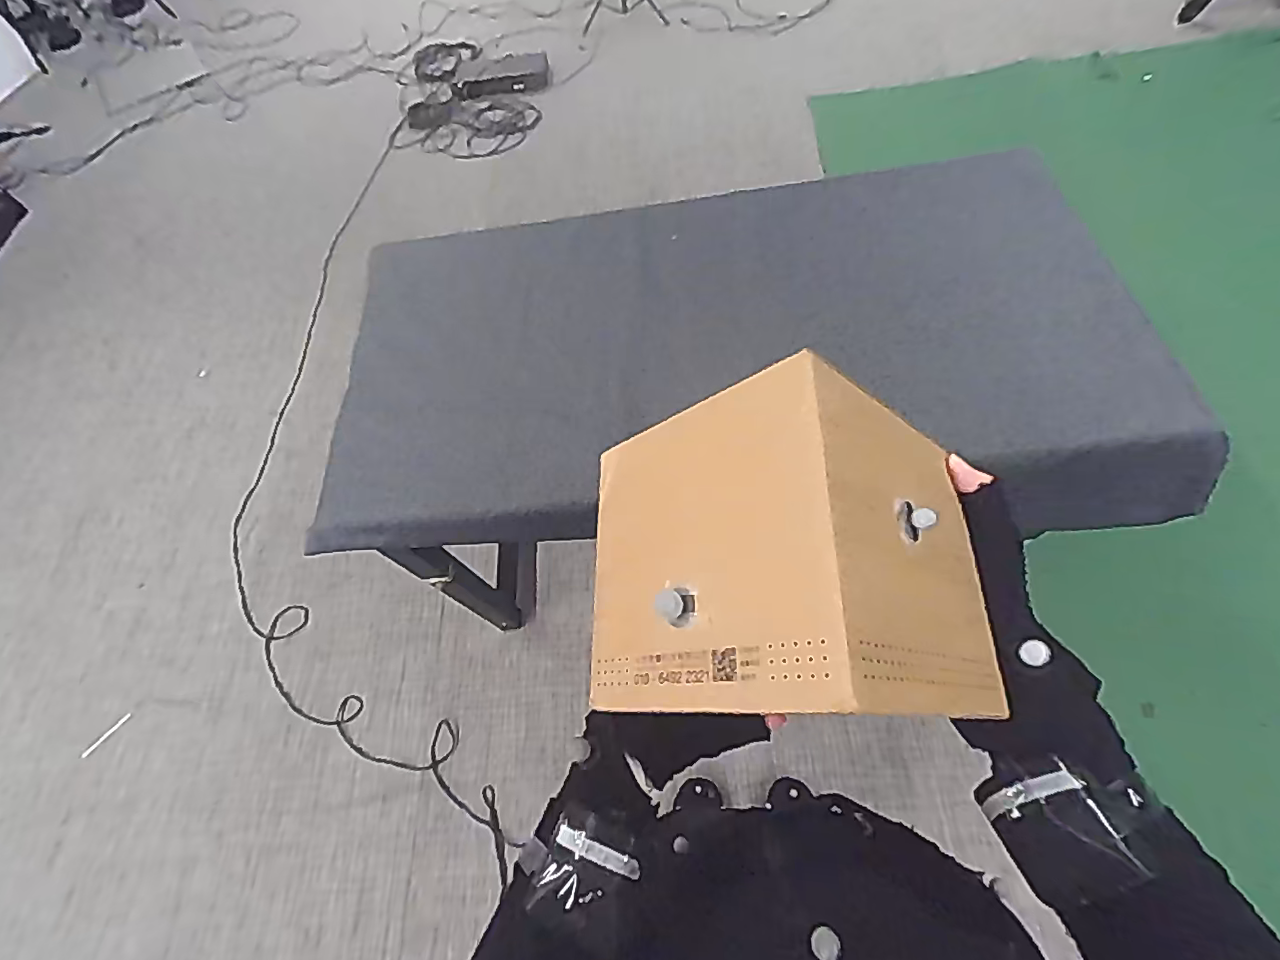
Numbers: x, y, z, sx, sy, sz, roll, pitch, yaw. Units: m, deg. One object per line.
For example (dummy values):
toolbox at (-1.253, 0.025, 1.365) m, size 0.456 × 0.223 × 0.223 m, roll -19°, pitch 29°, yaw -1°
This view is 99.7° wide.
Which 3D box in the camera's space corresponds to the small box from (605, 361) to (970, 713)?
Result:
small box at (0.089, 0.058, 0.356) m, size 0.168 × 0.179 × 0.176 m, roll -25°, pitch 57°, yaw 44°
